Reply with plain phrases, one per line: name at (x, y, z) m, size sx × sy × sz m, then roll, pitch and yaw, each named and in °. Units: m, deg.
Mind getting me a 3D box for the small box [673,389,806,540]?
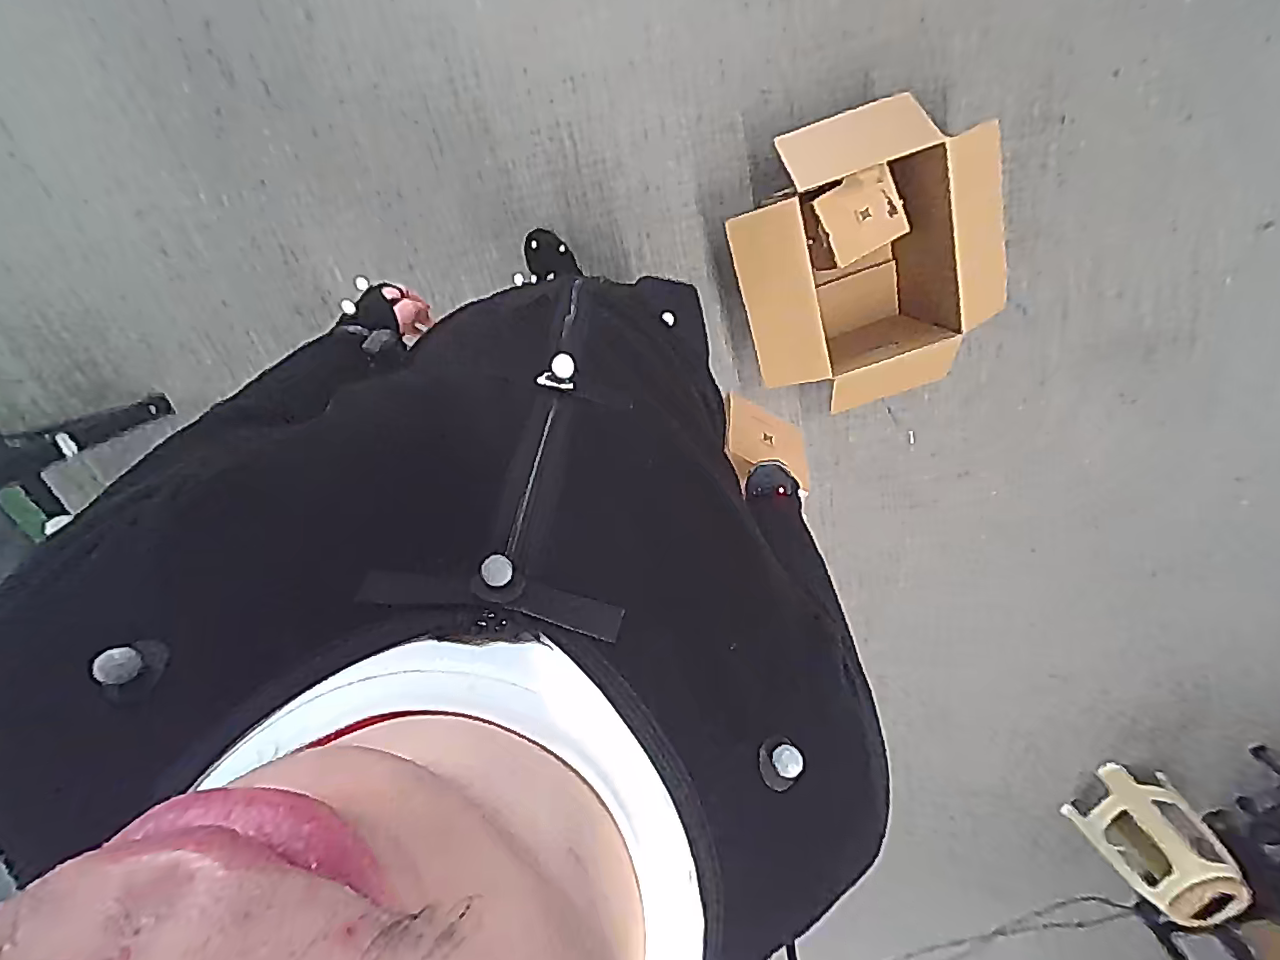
small box at (0.174, -0.022, 0.969) m, size 0.168 × 0.179 × 0.176 m, roll 27°, pitch 132°, yaw -13°
